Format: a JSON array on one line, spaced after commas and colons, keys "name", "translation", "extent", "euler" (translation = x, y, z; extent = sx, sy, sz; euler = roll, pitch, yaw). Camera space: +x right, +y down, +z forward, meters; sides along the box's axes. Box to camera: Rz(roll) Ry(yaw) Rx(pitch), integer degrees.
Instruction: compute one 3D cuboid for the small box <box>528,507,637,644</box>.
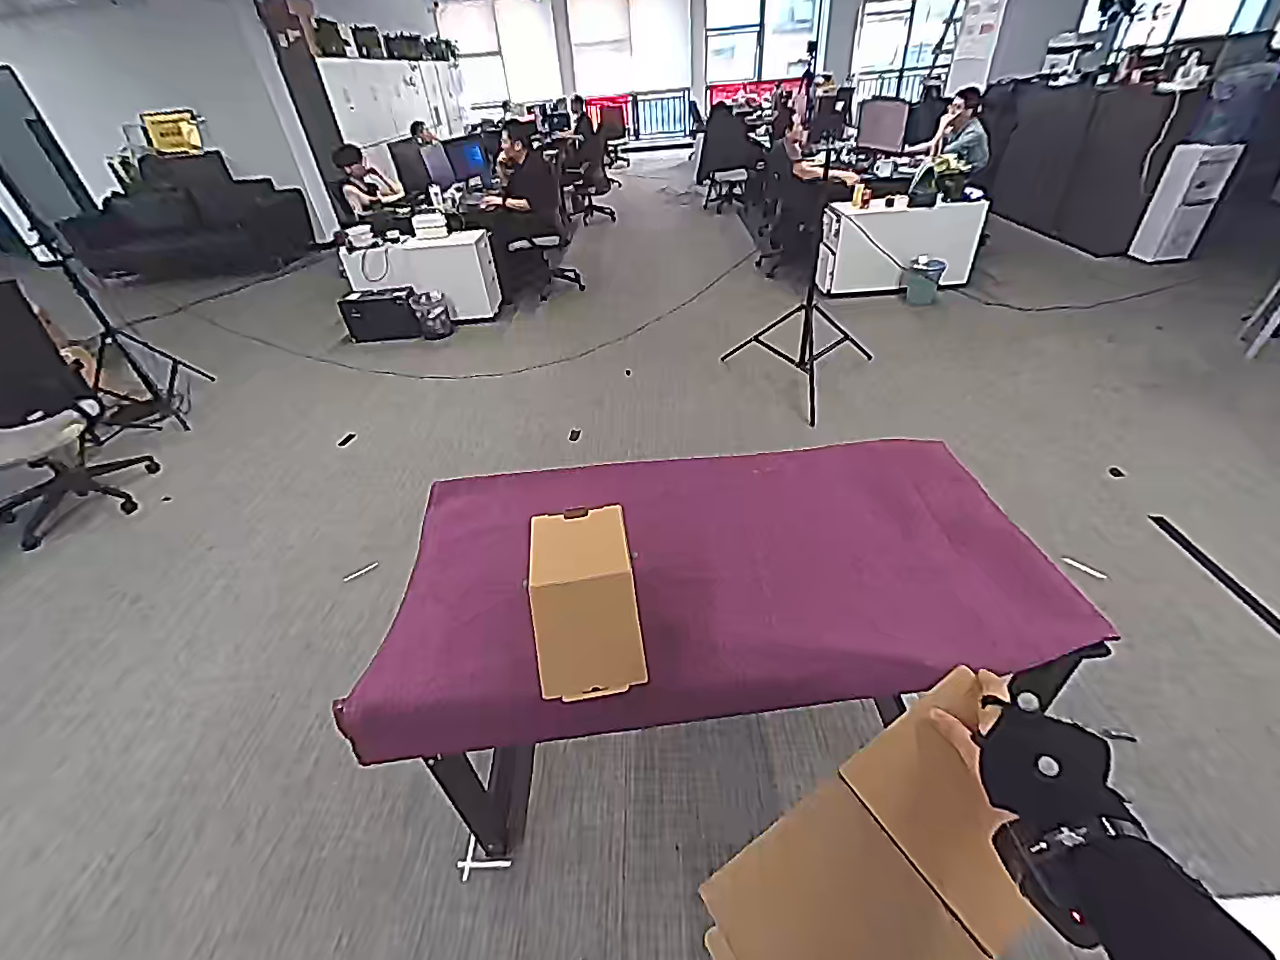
[{"name": "small box", "translation": [-0.100, 0.175, 0.969], "extent": [0.168, 0.176, 0.179], "euler": [-8, 36, -4]}]
